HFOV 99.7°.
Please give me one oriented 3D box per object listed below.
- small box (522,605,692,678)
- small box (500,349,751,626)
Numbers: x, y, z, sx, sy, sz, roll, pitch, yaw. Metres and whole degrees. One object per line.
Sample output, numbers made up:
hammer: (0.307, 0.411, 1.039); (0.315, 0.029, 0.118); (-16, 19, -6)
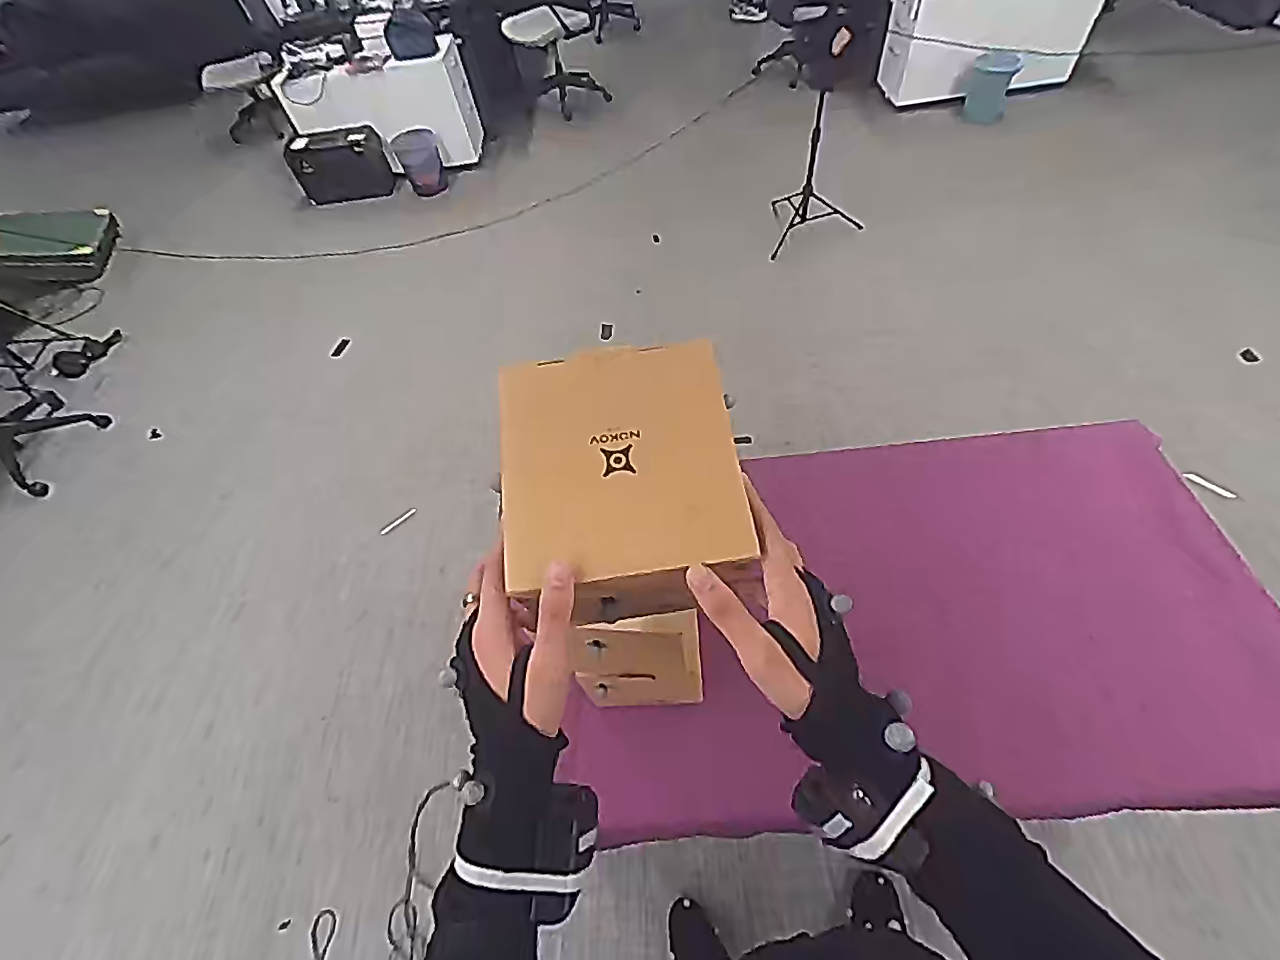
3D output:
small box: (-0.026, 0.142, 0.680); (0.179, 0.176, 0.168); (1, 55, 8)
small box: (-0.013, 0.019, 0.458); (0.168, 0.176, 0.179); (-8, 65, -2)
